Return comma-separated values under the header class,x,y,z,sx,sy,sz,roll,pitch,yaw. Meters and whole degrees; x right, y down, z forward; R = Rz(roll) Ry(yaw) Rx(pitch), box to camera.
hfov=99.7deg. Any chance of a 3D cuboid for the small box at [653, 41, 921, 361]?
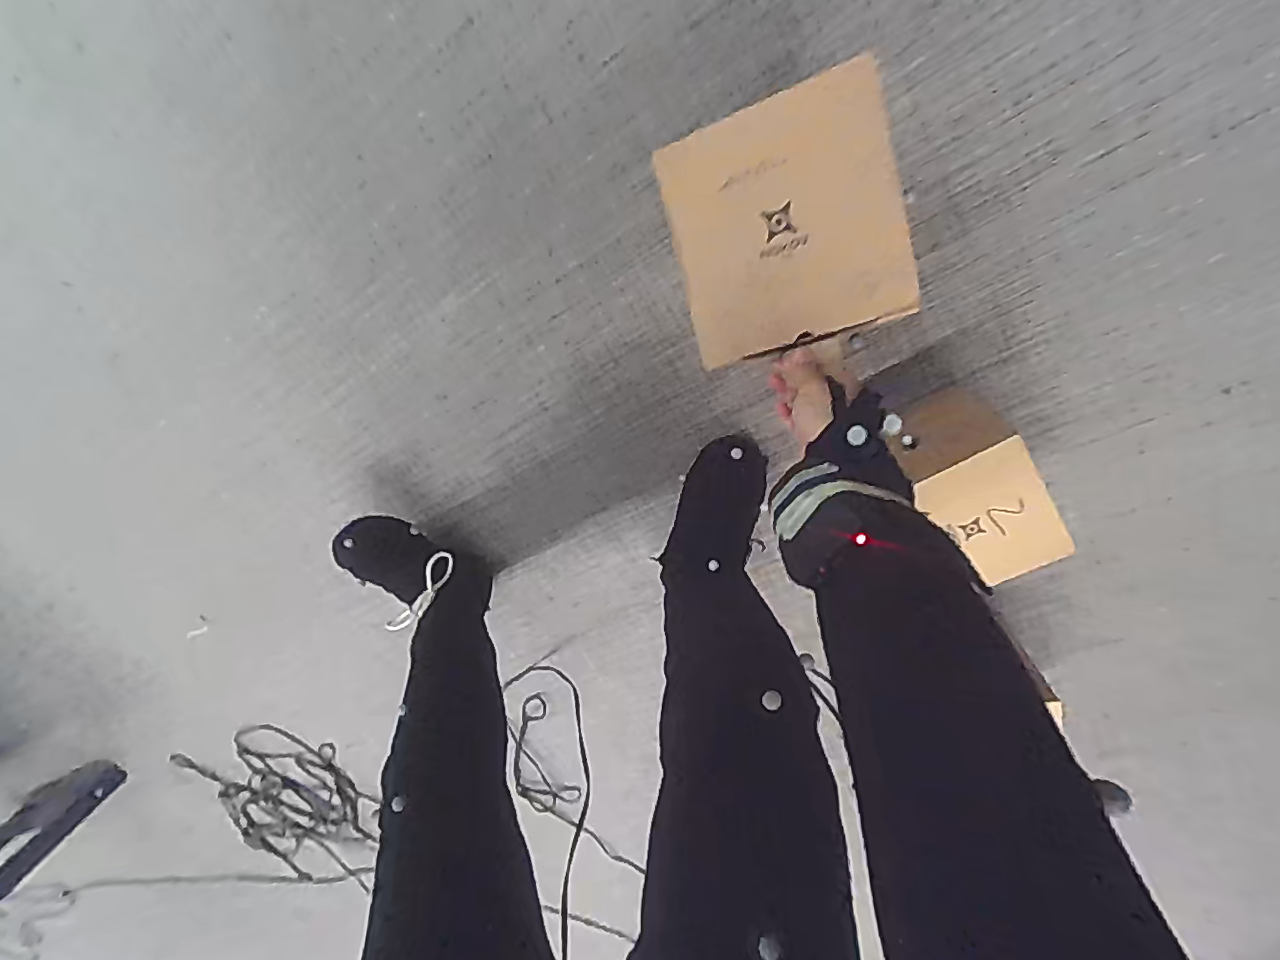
class,x,y,z,sx,sy,sz,roll,pitch,yaw
small box,0.132,-0.212,0.471,0.168,0.176,0.179,-12,98,22
